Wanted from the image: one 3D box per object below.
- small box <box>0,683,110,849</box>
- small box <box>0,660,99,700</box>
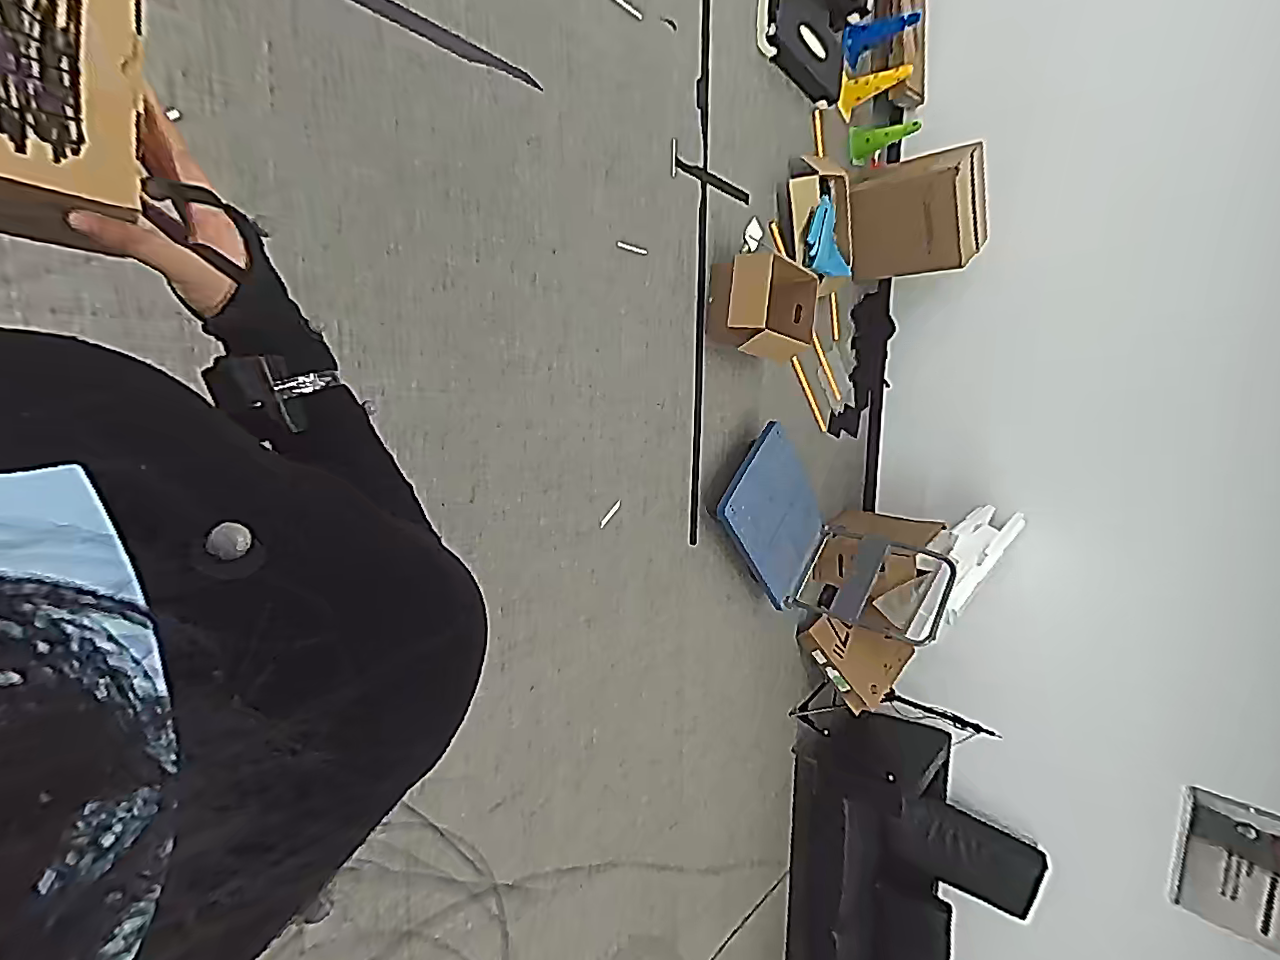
[{"bbox_3d":[-0.995,0.466,0.894,0.168,0.176,0.179,0,95,-46],"label":"small box"},{"bbox_3d":[-1.117,0.454,1.002,0.168,0.176,0.179,-9,103,-45],"label":"small box"}]
